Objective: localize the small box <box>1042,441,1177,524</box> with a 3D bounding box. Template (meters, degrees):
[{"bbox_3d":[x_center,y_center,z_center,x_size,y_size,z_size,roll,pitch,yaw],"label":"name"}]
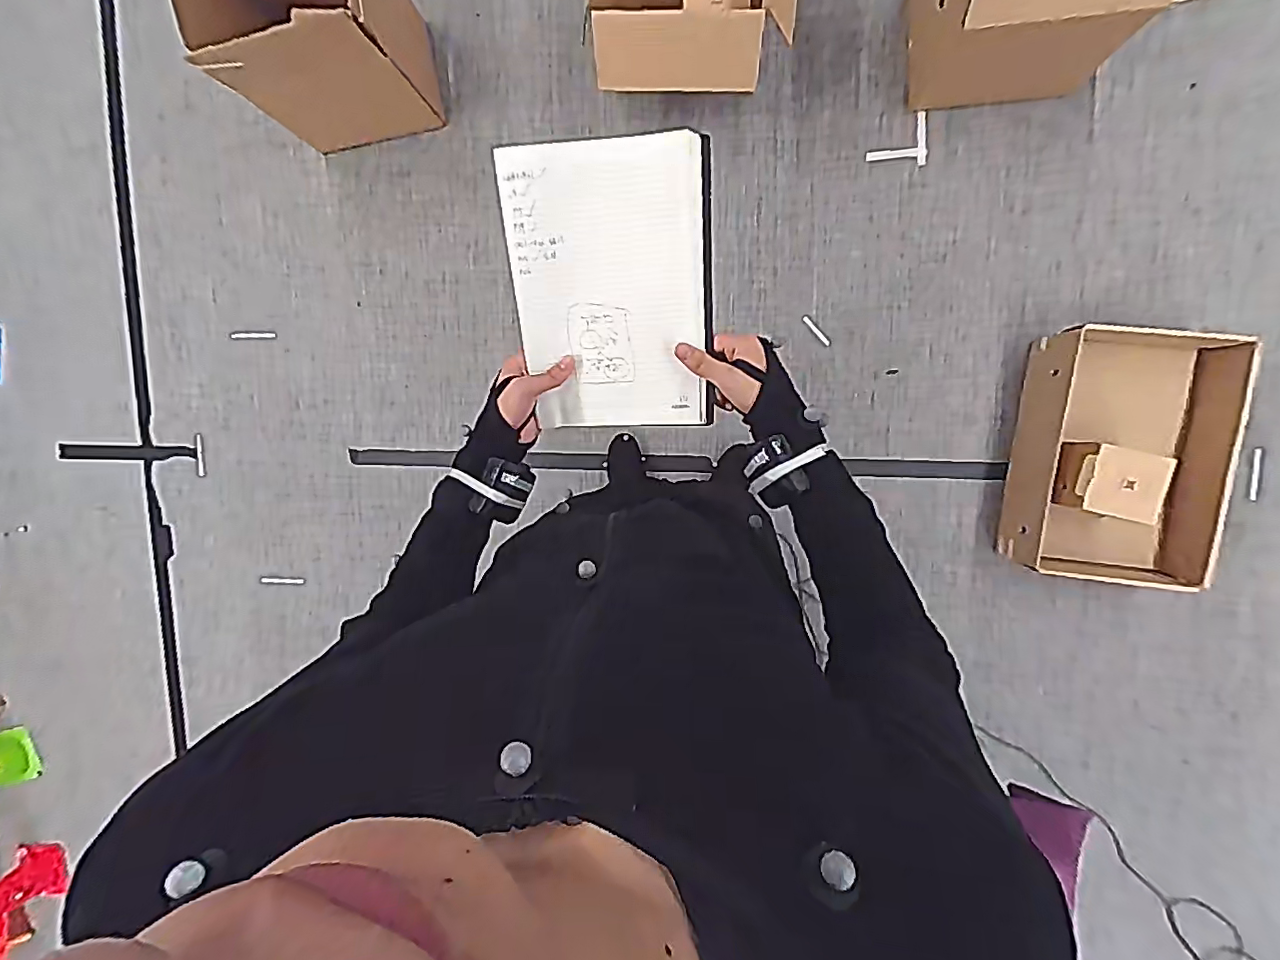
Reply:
[{"bbox_3d":[1.170,0.000,1.365,0.179,0.176,0.168,14,97,5],"label":"small box"}]
